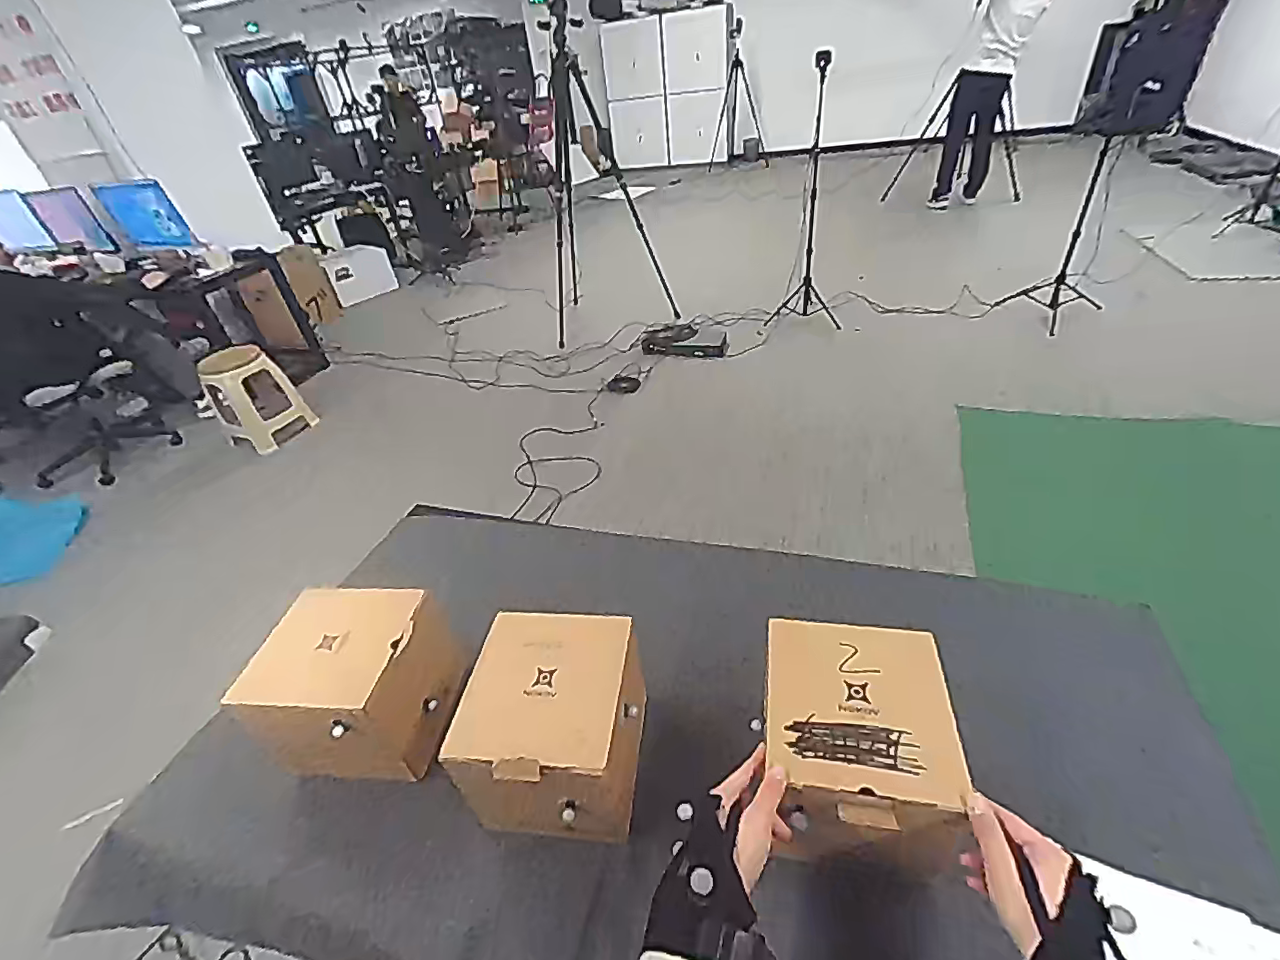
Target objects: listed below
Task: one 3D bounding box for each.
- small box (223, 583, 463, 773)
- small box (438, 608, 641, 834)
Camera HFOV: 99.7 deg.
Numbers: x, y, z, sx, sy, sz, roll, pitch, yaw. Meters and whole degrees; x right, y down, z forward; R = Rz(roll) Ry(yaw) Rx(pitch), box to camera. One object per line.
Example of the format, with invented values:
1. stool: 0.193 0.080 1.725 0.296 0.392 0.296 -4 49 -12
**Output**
1. small box: -0.354 0.249 0.685 0.179 0.176 0.168 -1 37 8
2. small box: -0.093 0.269 0.612 0.168 0.176 0.179 1 37 9
